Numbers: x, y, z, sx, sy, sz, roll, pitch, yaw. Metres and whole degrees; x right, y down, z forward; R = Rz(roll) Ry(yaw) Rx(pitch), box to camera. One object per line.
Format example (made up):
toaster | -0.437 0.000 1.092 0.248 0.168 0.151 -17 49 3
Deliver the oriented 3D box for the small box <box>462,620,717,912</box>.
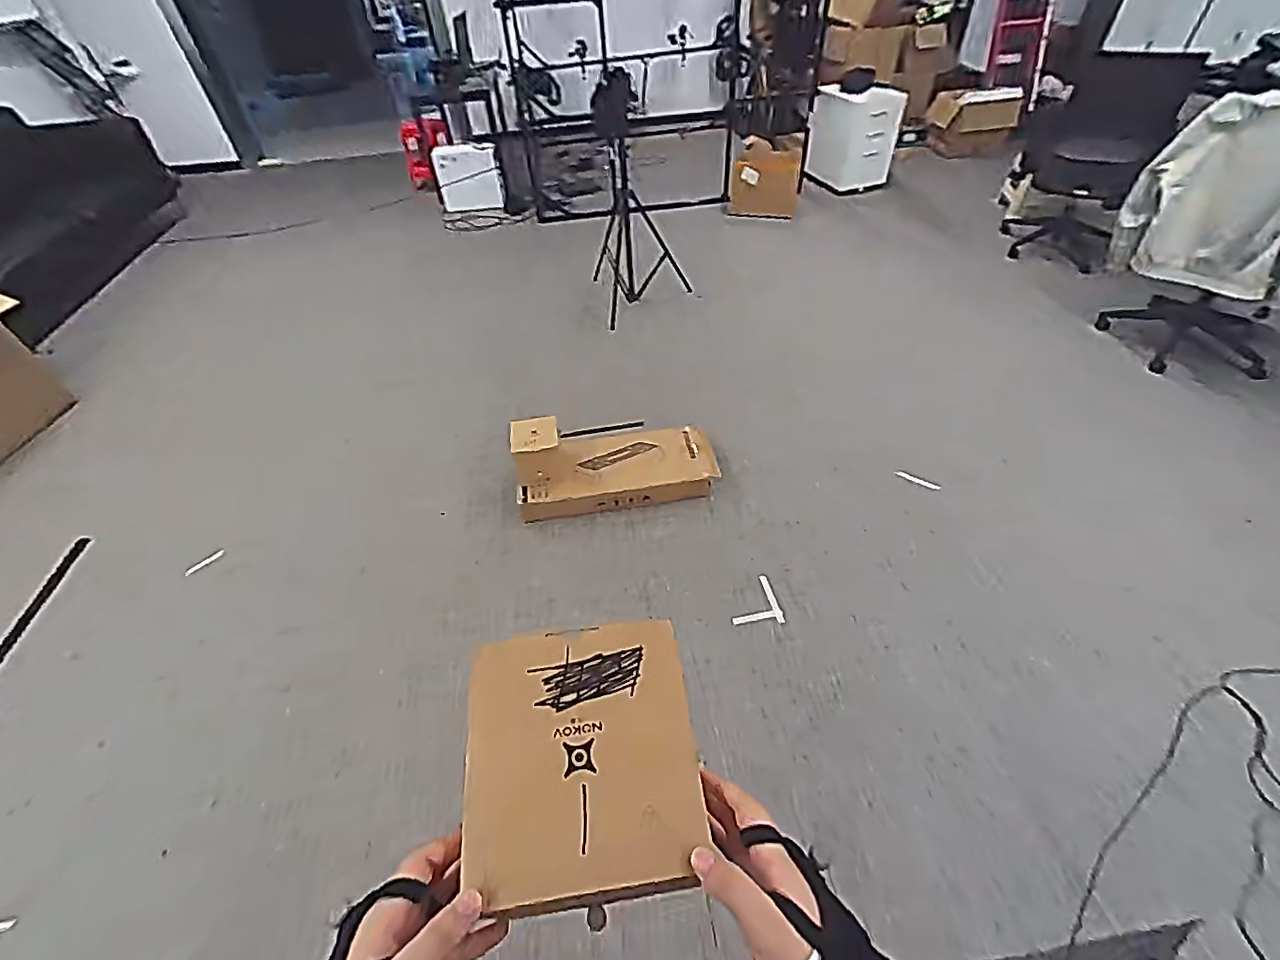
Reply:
small box | -0.040 0.242 0.456 0.168 0.176 0.179 -7 51 -4

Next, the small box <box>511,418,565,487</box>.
small box | -0.370 -0.101 1.967 0.168 0.176 0.179 -9 45 -5
